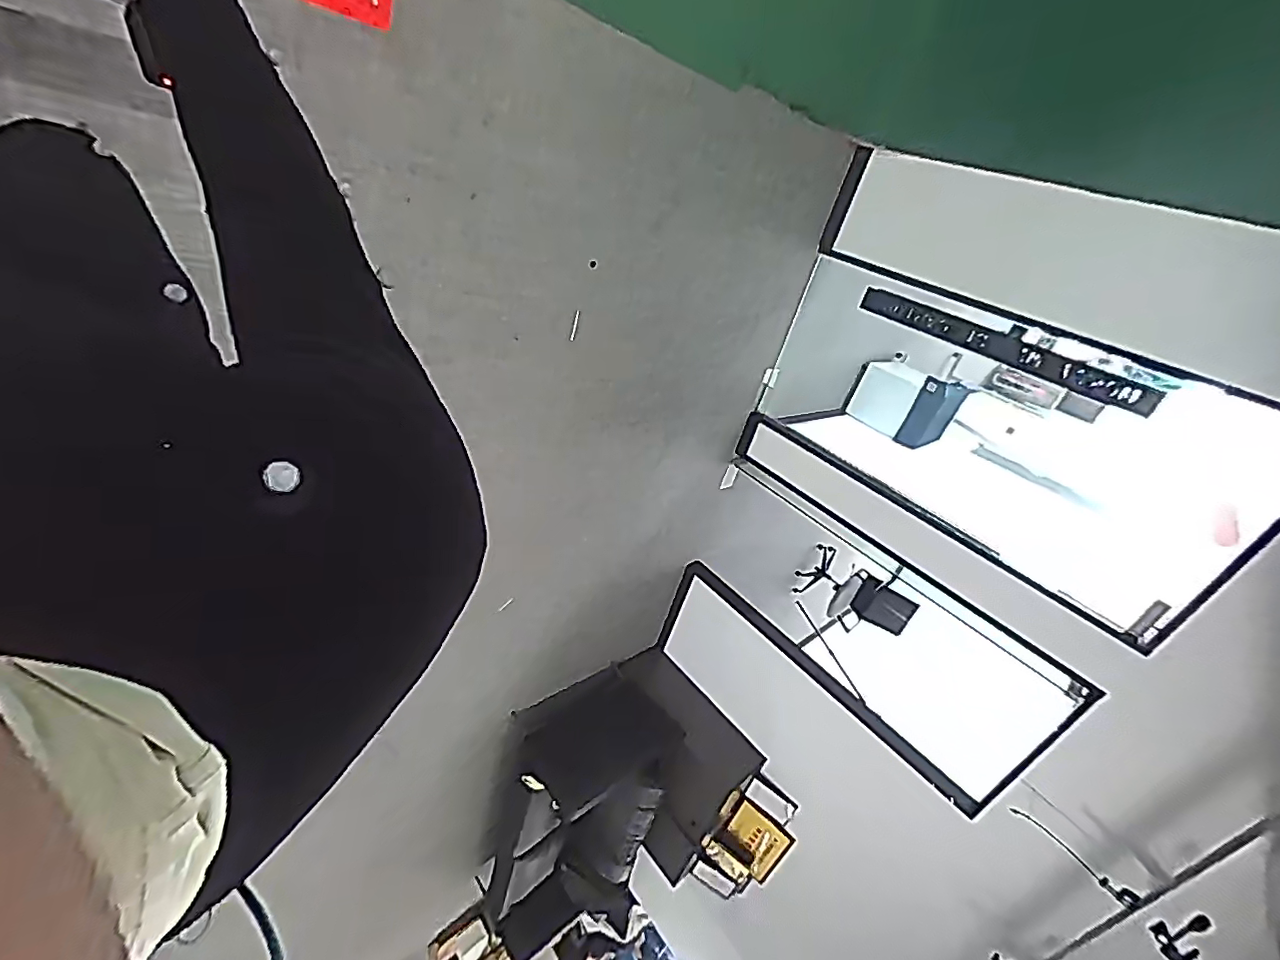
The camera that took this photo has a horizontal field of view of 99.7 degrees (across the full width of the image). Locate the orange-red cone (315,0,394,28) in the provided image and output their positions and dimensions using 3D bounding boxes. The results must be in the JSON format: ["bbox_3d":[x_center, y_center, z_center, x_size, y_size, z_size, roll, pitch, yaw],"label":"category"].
[{"bbox_3d":[-0.485,-0.980,0.999,0.198,0.360,0.199,-13,129,-43],"label":"orange-red cone"}]
